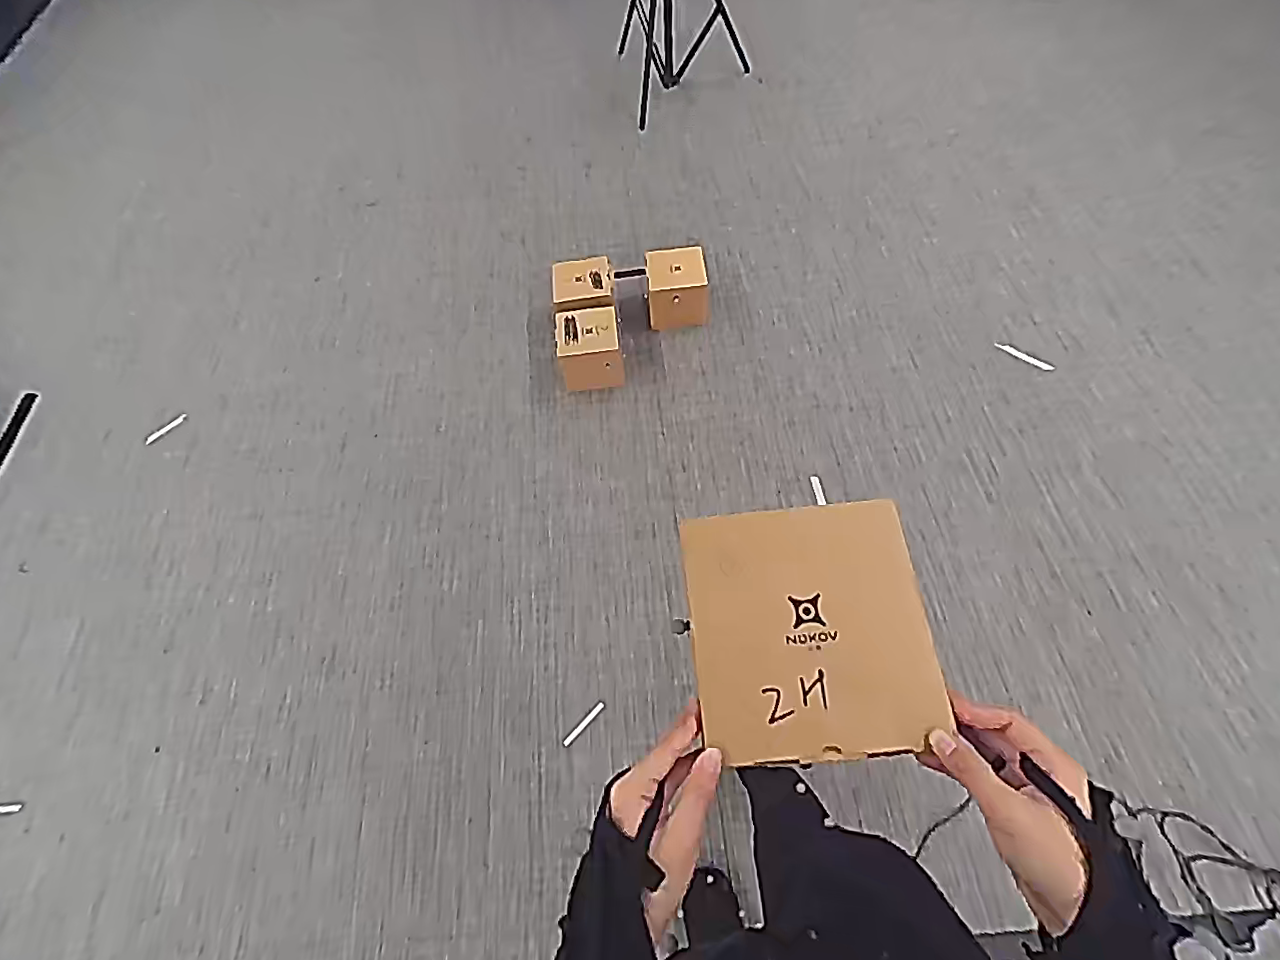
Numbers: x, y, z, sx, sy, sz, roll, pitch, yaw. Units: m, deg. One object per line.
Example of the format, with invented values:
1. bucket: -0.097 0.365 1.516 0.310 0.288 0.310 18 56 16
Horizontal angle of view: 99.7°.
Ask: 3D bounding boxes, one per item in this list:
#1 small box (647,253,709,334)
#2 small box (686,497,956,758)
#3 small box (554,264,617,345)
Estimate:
1. small box: 0.116 -0.582 1.700 0.179 0.176 0.168 -6 63 2
2. small box: 0.129 0.131 0.466 0.168 0.176 0.179 -7 67 4
3. small box: -0.166 -0.549 1.705 0.179 0.176 0.168 -7 63 2
